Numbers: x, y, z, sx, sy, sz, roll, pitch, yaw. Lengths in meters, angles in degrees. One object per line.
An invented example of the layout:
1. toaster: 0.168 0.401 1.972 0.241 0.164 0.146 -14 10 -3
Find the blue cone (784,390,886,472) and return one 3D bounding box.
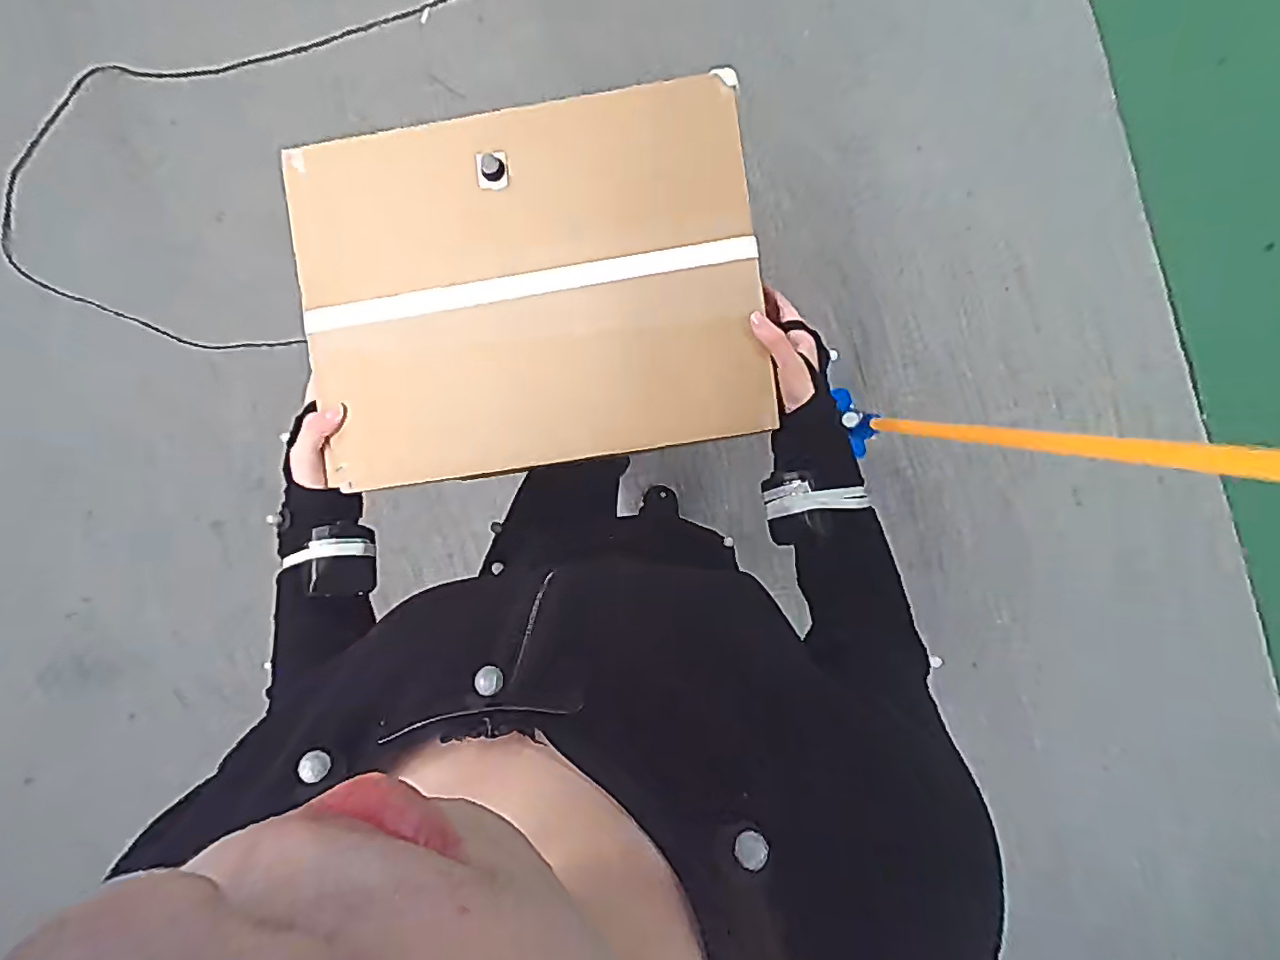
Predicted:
1. blue cone: 0.499 -0.121 1.289 0.192 0.380 0.193 -19 93 2
